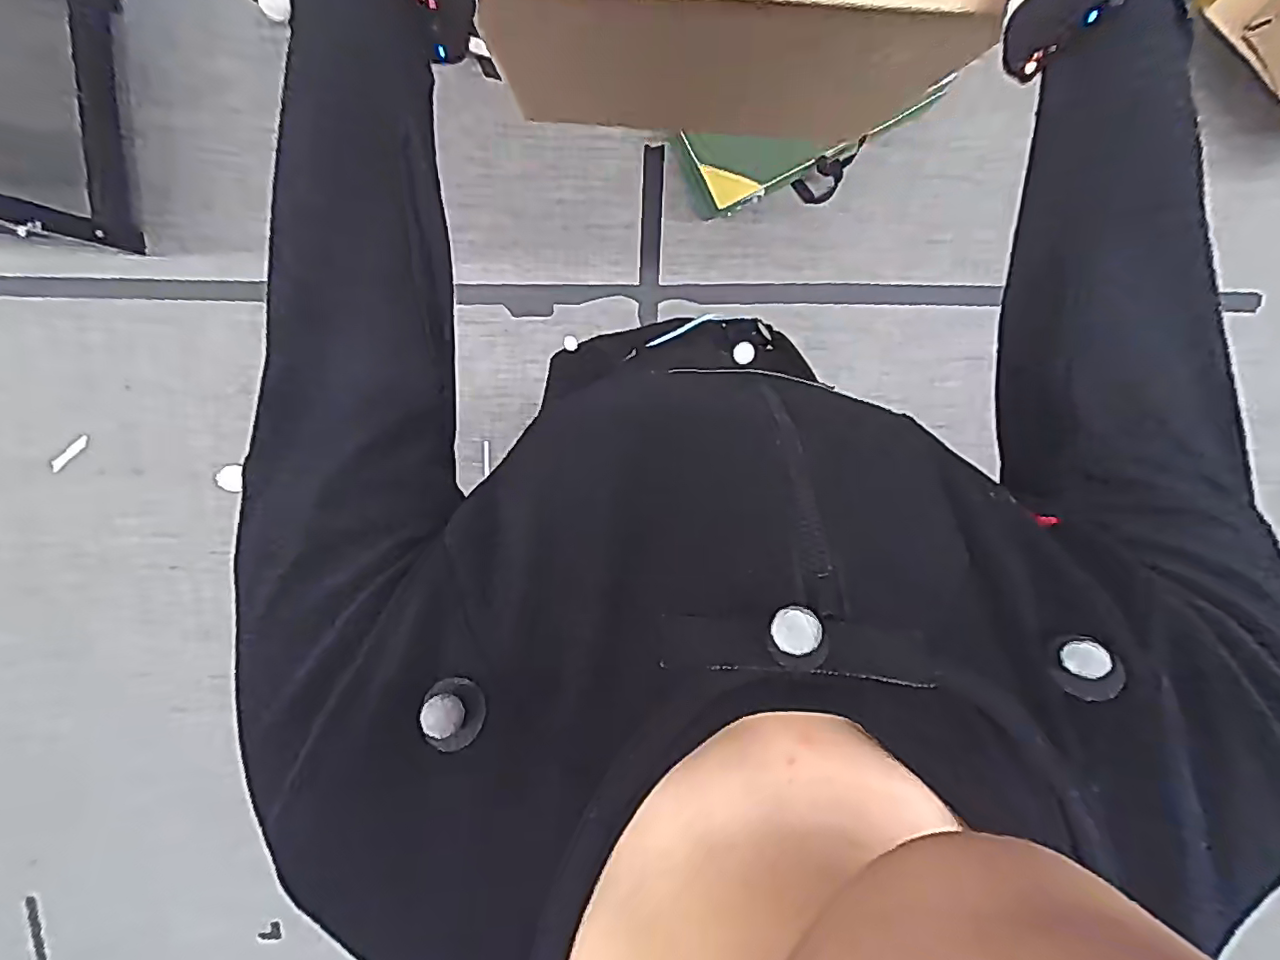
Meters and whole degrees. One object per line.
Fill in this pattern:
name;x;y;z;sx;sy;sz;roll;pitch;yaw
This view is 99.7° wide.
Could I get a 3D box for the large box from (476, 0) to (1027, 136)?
large box;0.072;-0.522;0.468;0.408;0.320;0.320;1;109;-4
